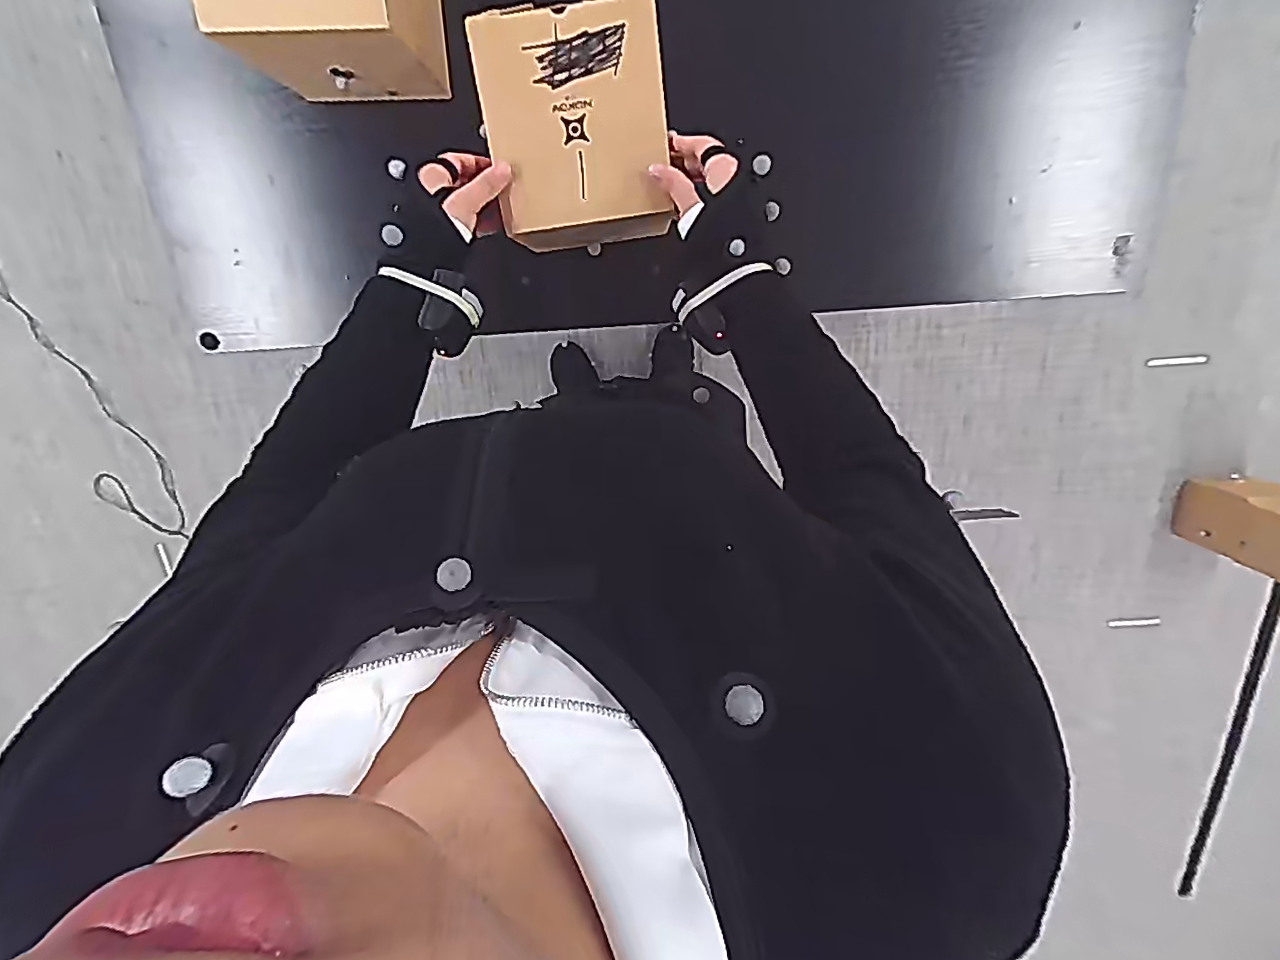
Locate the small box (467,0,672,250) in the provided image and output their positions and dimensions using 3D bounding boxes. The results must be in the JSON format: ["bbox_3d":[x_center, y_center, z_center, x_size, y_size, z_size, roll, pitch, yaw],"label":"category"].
[{"bbox_3d":[-0.061,-0.352,0.564,0.168,0.176,0.179,-7,107,2],"label":"small box"}]

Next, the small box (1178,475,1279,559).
[{"bbox_3d":[1.625,0.096,1.462,0.168,0.176,0.179,-5,107,1],"label":"small box"}]

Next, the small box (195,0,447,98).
[{"bbox_3d":[-0.300,-0.493,0.521,0.168,0.176,0.179,-2,107,0],"label":"small box"}]

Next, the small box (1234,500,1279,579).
[{"bbox_3d":[1.624,0.148,1.306,0.179,0.176,0.168,-6,108,1],"label":"small box"}]
